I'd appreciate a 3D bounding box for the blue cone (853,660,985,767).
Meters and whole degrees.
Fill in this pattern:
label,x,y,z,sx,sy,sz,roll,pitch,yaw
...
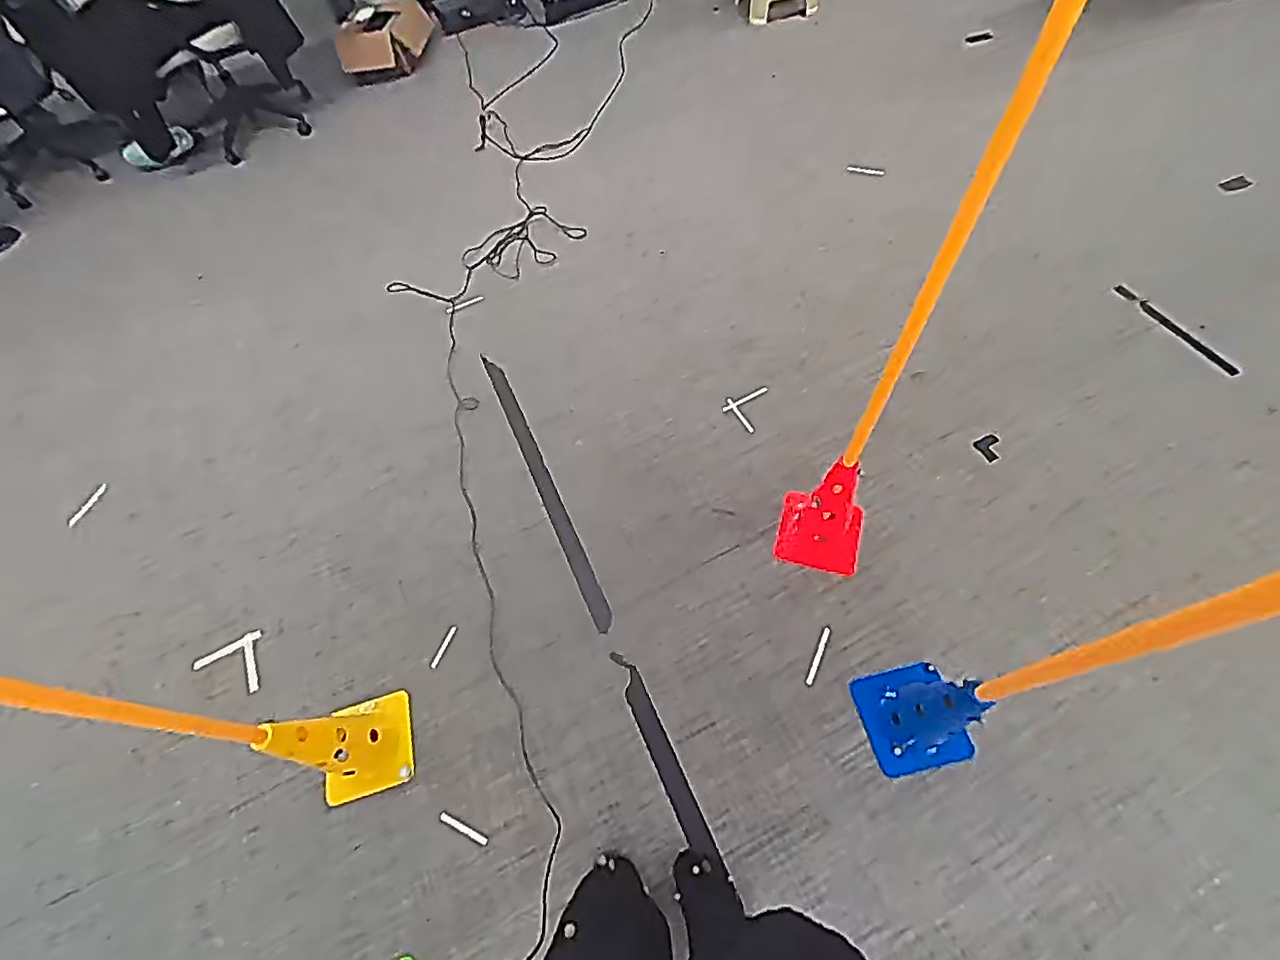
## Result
label,x,y,z,sx,sy,sz,roll,pitch,yaw
blue cone,0.554,0.413,1.010,0.193,0.380,0.192,-12,59,0

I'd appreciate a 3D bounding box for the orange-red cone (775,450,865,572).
label,x,y,z,sx,sy,sz,roll,pitch,yaw
orange-red cone,0.435,0.042,1.222,0.198,0.360,0.199,14,64,16
